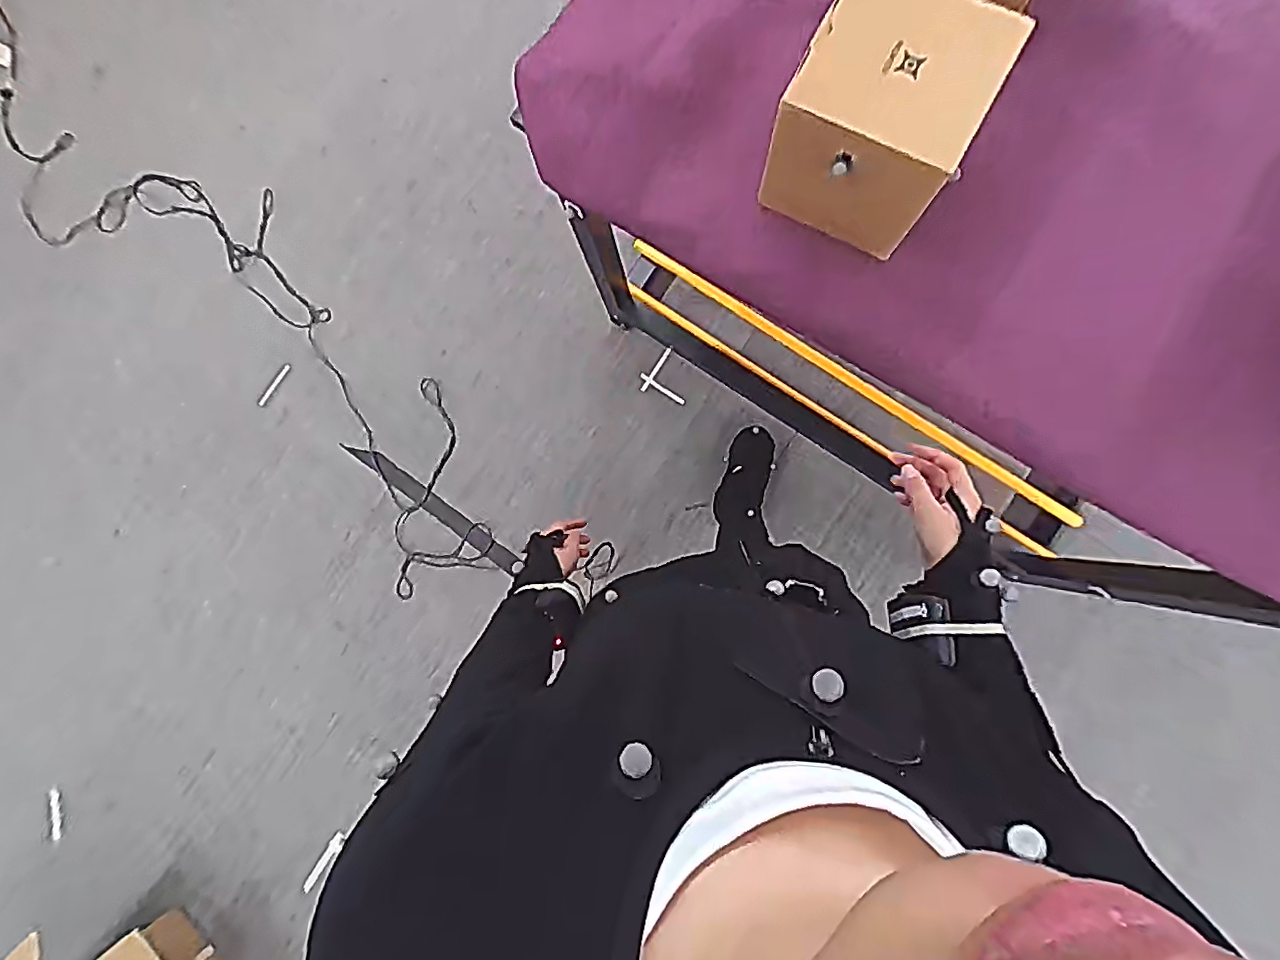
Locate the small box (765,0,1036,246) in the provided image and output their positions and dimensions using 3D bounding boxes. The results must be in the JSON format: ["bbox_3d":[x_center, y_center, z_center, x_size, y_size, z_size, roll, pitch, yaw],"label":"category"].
[{"bbox_3d":[0.255,-0.384,0.579,0.179,0.176,0.168,29,89,7],"label":"small box"}]
